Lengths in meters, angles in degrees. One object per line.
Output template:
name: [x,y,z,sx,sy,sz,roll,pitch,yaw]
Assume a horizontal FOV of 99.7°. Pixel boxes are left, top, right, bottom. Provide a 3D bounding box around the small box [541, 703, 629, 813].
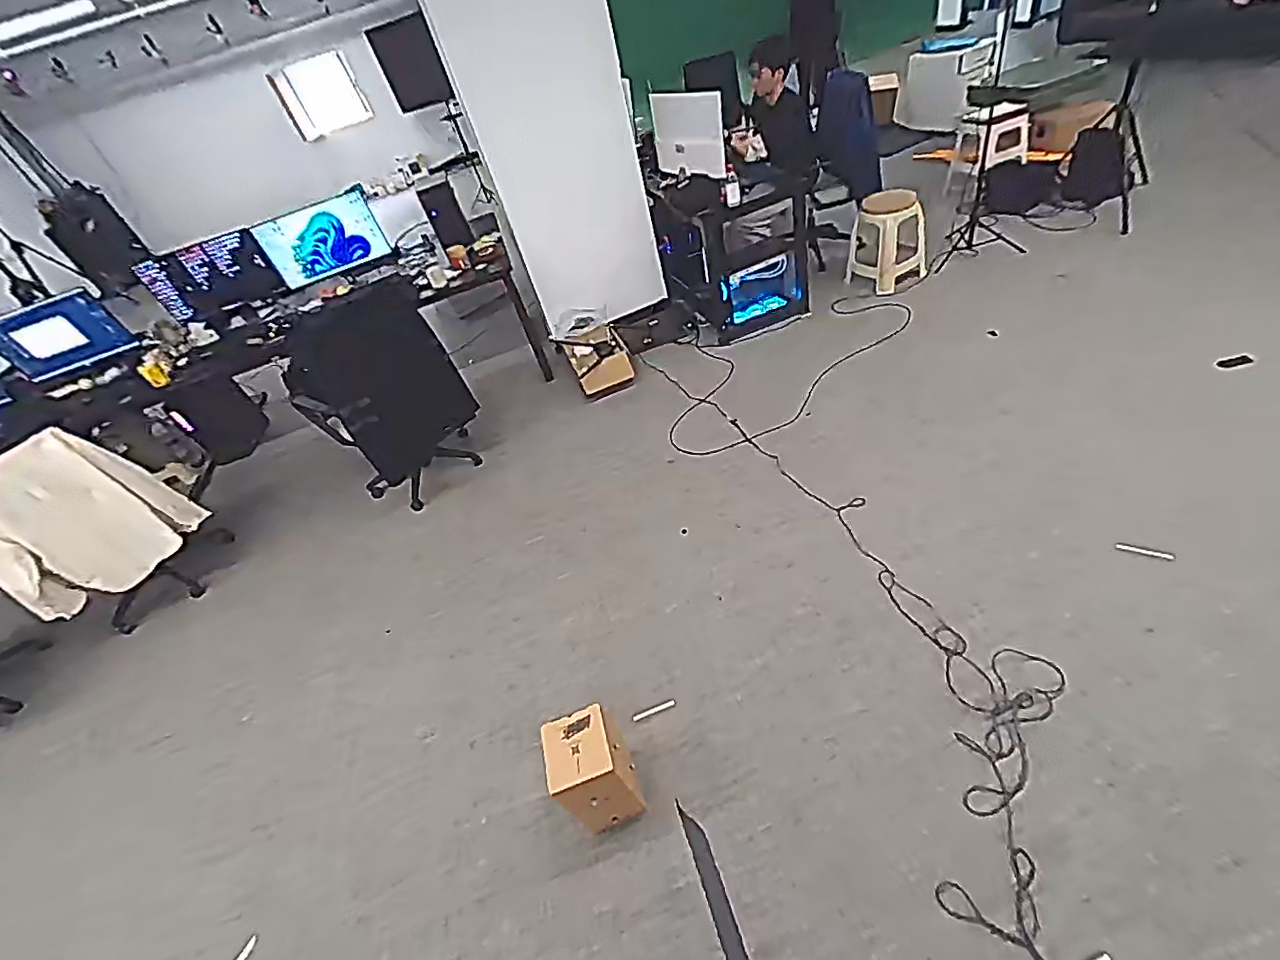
small box: [-0.142,0.720,1.398,0.168,0.176,0.179,-22,42,-2]
